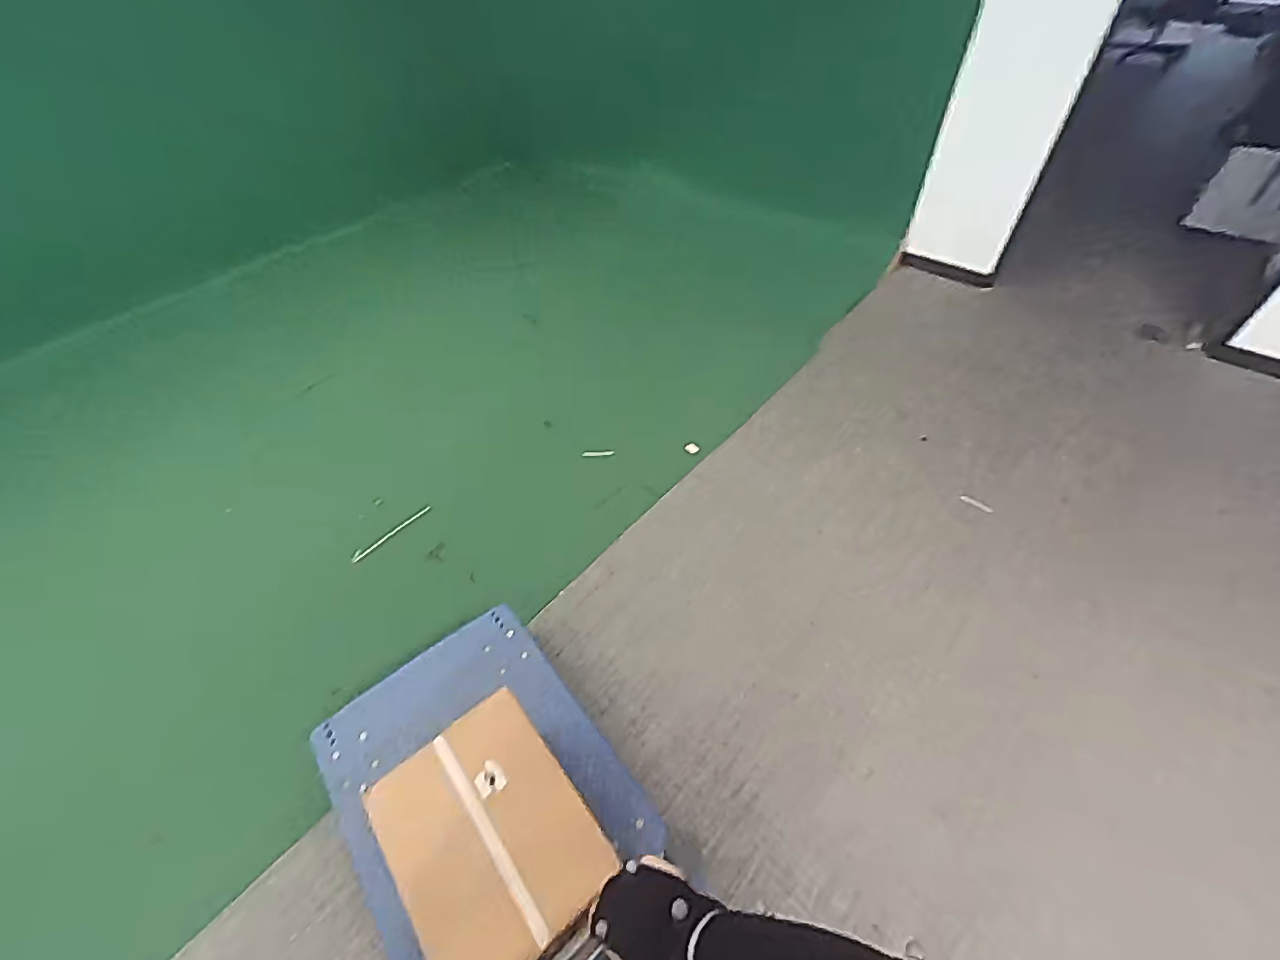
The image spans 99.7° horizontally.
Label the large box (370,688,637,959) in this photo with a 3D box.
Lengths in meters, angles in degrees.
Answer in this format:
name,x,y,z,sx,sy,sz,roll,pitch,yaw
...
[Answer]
name,x,y,z,sx,sy,sz,roll,pitch,yaw
large box,-0.255,0.715,1.079,0.320,0.320,0.408,-33,54,-22
